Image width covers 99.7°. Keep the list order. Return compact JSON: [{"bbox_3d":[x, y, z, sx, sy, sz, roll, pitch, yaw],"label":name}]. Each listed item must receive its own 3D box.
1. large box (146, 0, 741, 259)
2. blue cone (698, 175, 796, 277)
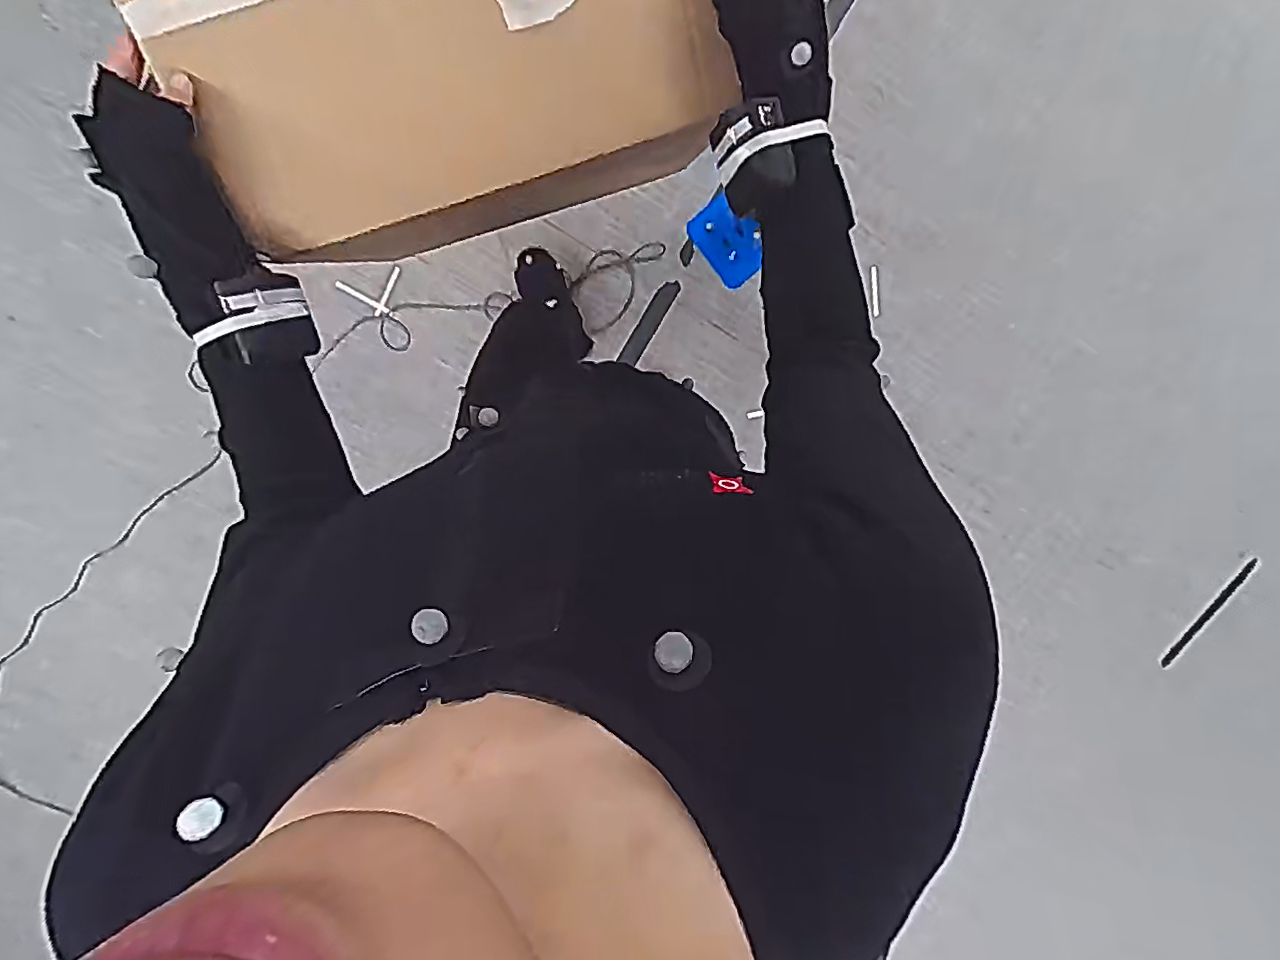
[{"bbox_3d":[-0.165,-0.431,0.512,0.408,0.320,0.320,-17,112,1],"label":"large box"},{"bbox_3d":[0.261,-0.582,1.175,0.192,0.380,0.193,-37,102,9],"label":"blue cone"}]
